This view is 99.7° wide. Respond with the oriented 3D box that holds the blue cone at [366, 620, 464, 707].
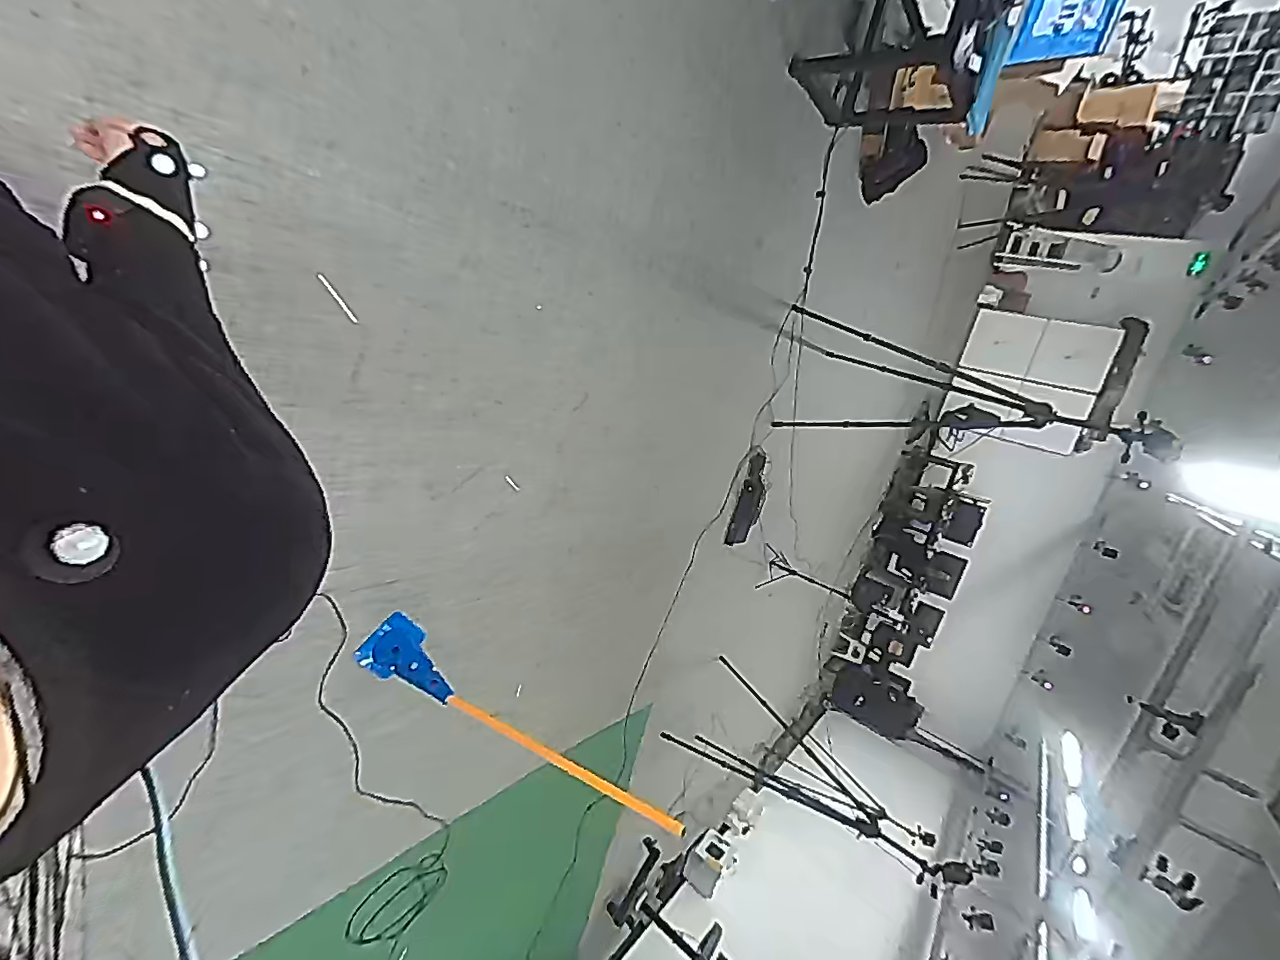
[{"bbox_3d":[-0.716,0.642,1.798,0.193,0.380,0.192,-53,143,-25],"label":"blue cone"}]
